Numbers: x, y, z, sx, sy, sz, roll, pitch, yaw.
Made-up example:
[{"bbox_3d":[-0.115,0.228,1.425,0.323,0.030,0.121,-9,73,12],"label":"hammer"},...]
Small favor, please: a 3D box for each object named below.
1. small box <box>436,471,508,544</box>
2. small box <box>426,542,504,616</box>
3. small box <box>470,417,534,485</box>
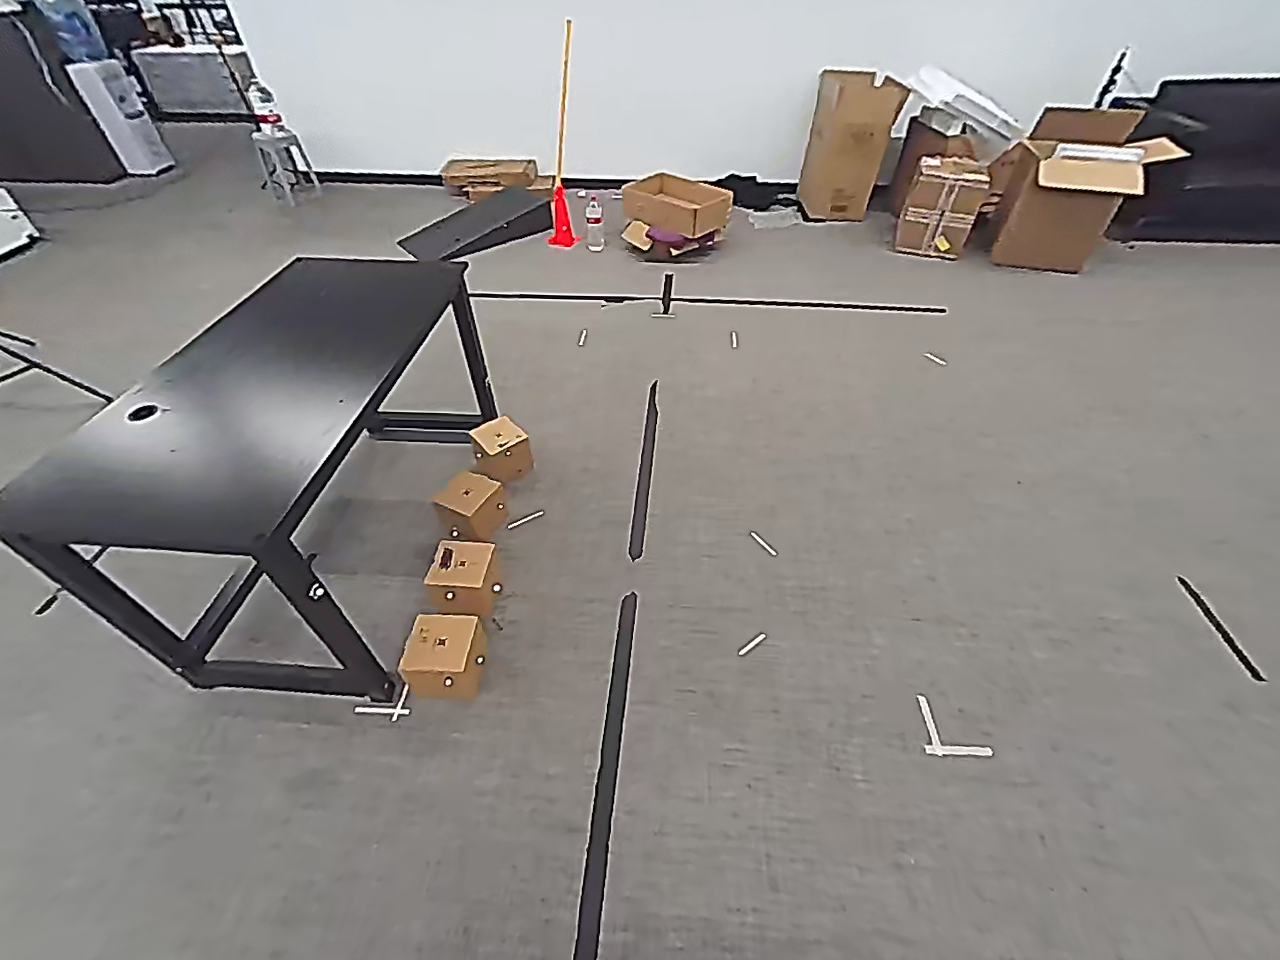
[{"bbox_3d":[-0.587,0.102,1.918,0.168,0.176,0.179,18,49,18],"label":"small box"},{"bbox_3d":[-0.544,0.314,1.707,0.179,0.176,0.168,3,46,2],"label":"small box"},{"bbox_3d":[-0.539,-0.113,2.127,0.168,0.176,0.179,-33,54,-28],"label":"small box"}]
